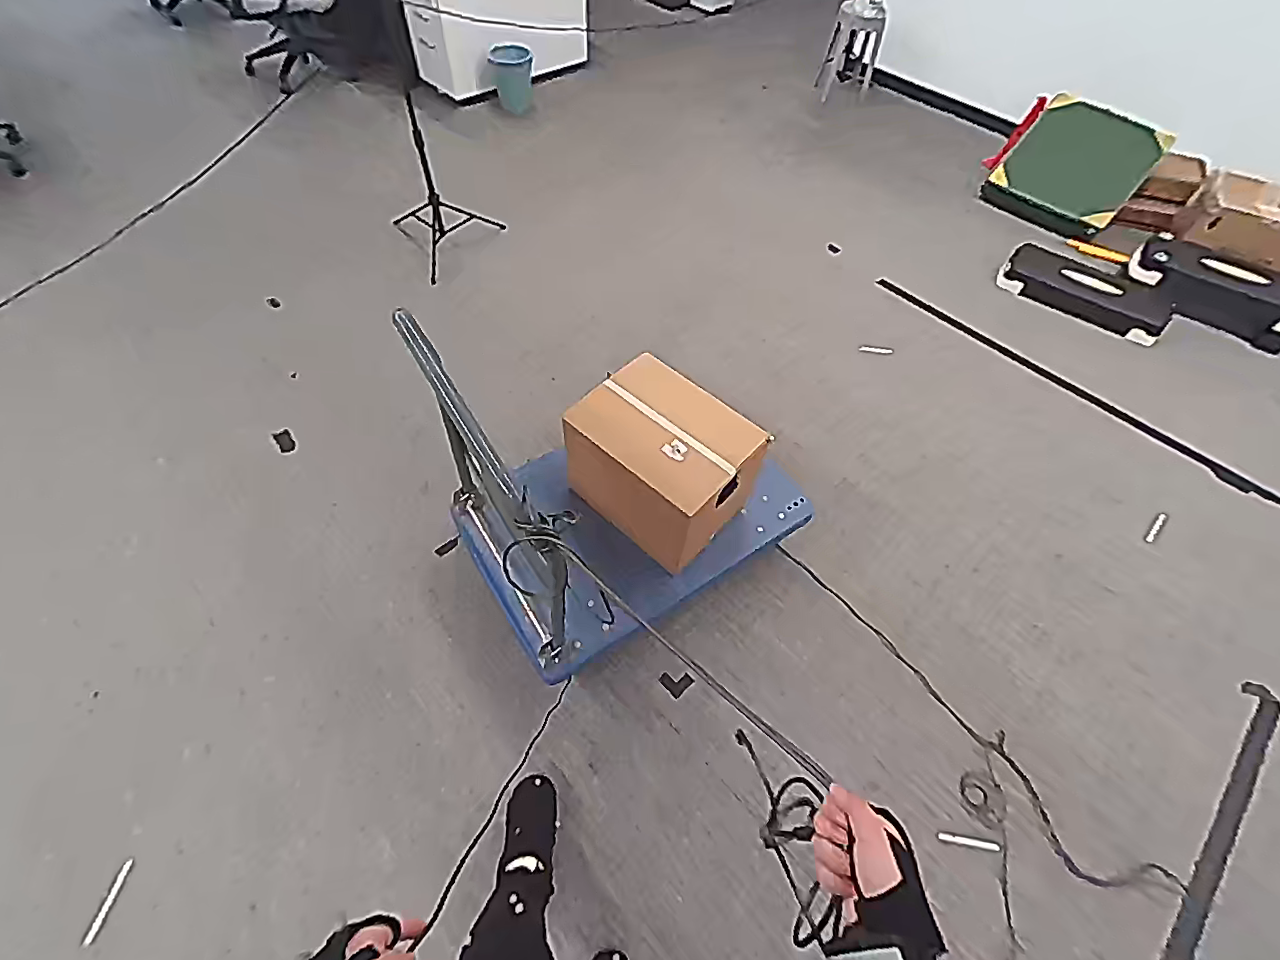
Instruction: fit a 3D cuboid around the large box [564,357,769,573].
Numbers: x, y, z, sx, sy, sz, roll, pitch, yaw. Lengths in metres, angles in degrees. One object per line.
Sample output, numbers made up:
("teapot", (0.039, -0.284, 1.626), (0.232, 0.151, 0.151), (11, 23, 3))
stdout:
("large box", (0.051, -0.039, 1.406), (0.408, 0.320, 0.320), (38, 62, 19))
